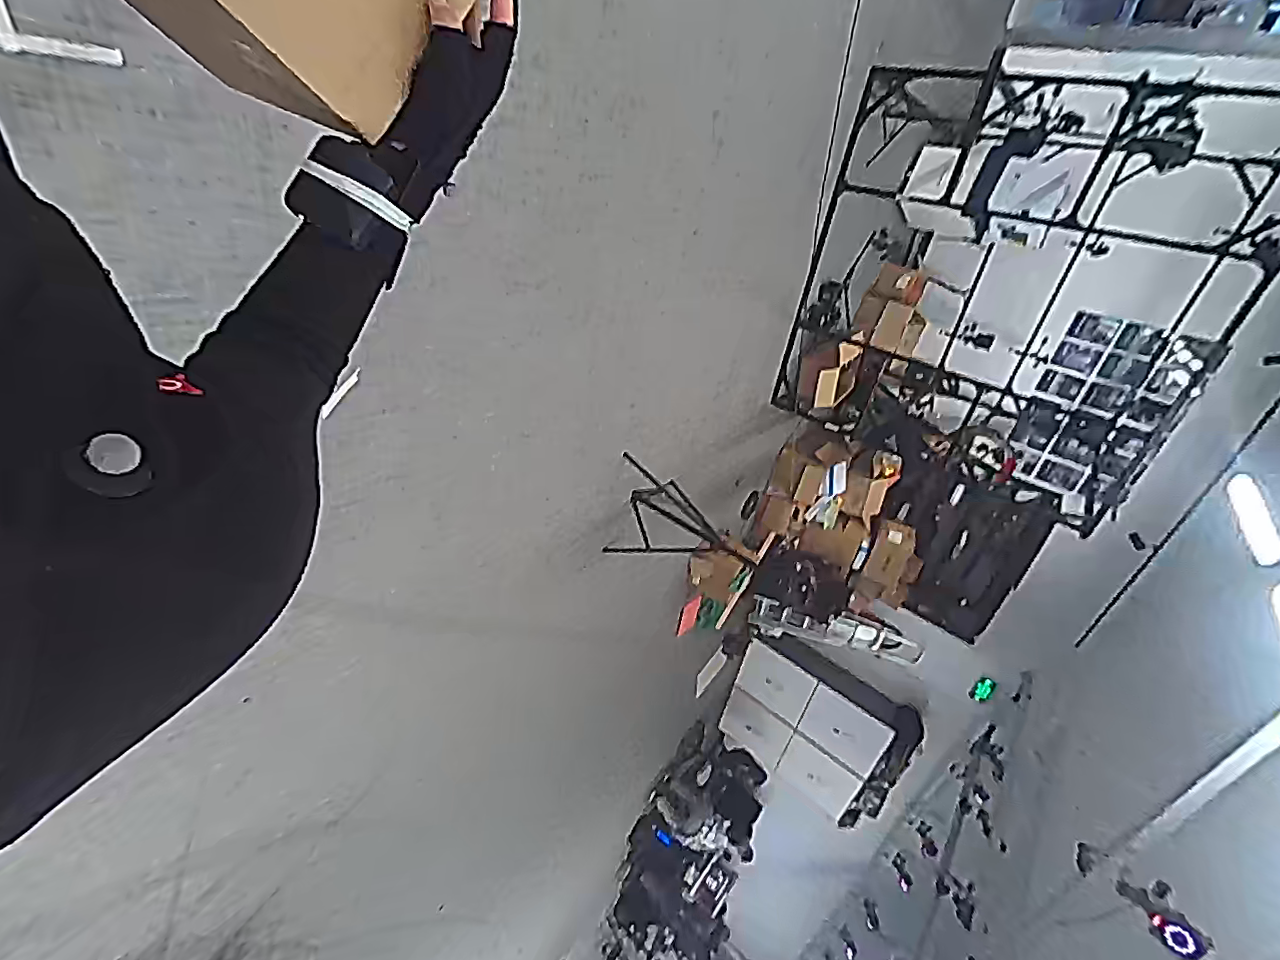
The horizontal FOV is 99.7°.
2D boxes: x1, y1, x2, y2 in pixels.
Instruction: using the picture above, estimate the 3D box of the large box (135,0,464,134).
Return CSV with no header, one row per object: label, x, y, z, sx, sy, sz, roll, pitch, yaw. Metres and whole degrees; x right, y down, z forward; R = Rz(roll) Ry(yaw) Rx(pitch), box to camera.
large box,-0.316,-0.516,0.321,0.320,0.320,0.408,-55,151,1
